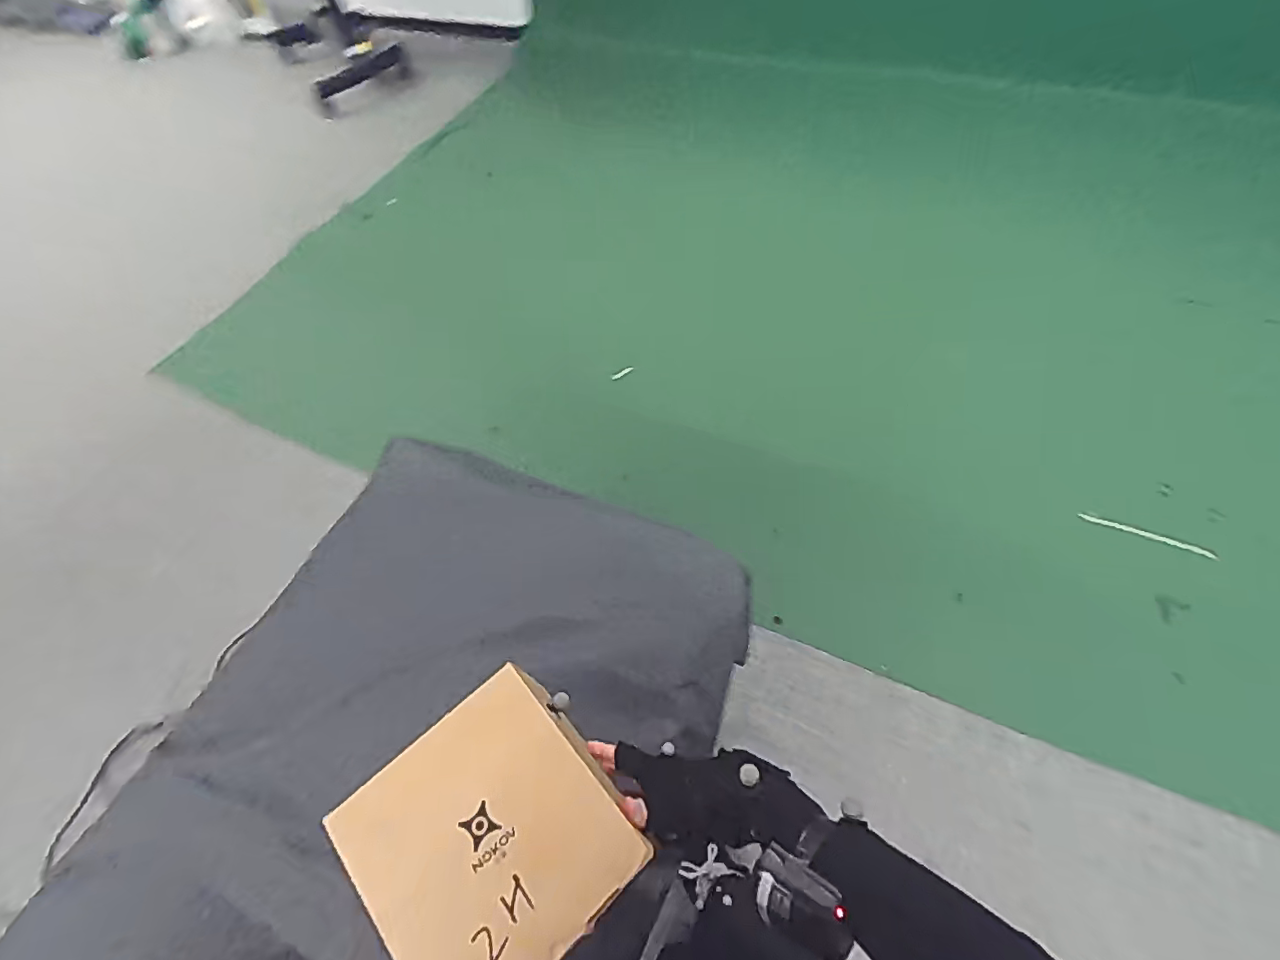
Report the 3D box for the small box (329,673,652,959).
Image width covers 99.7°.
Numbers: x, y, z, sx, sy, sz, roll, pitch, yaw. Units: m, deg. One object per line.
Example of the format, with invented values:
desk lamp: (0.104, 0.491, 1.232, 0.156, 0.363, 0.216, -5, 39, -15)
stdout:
small box: (-0.107, 0.295, 0.448, 0.168, 0.176, 0.179, -36, 67, -17)
